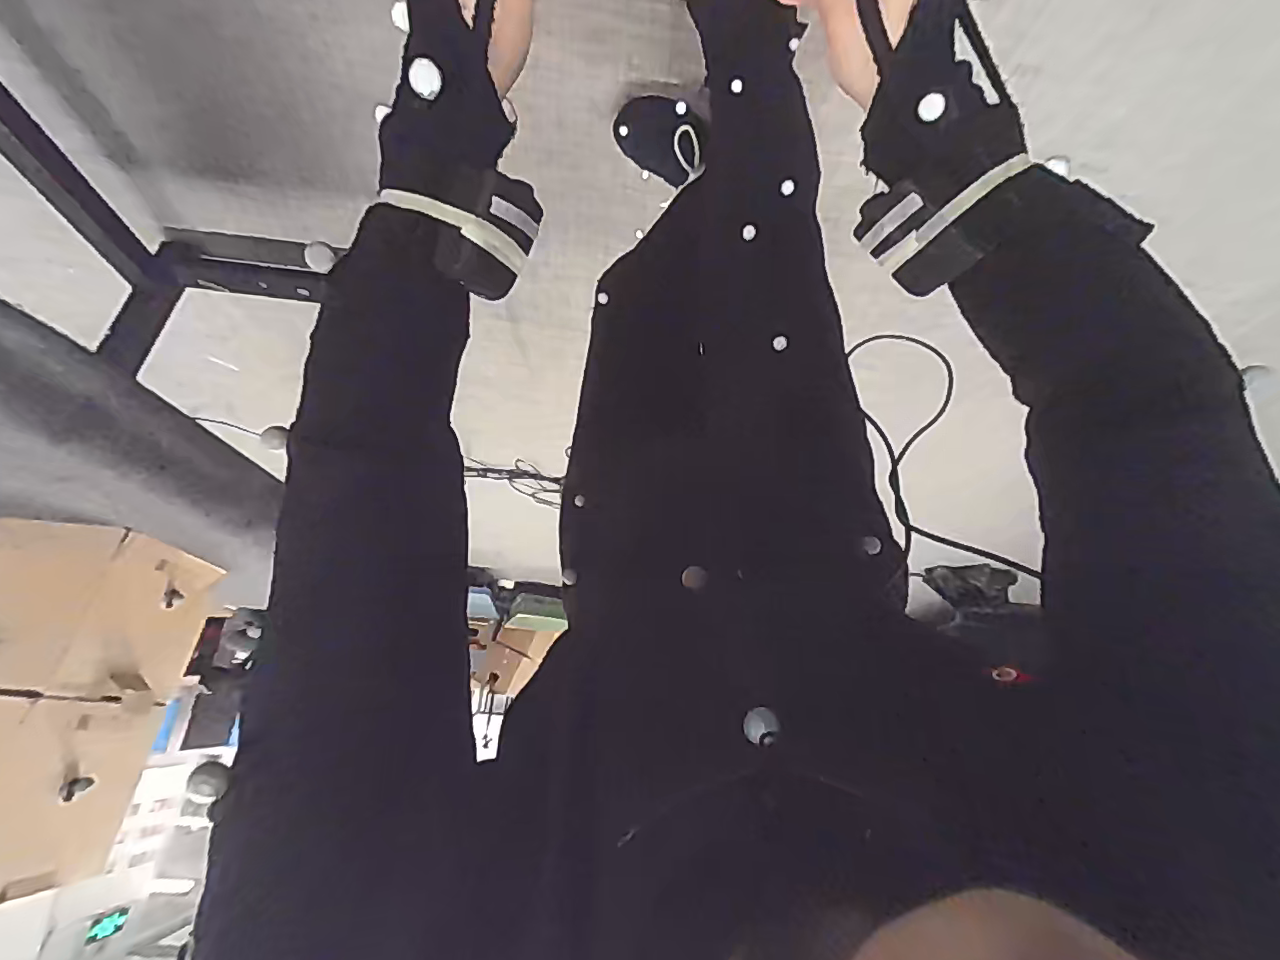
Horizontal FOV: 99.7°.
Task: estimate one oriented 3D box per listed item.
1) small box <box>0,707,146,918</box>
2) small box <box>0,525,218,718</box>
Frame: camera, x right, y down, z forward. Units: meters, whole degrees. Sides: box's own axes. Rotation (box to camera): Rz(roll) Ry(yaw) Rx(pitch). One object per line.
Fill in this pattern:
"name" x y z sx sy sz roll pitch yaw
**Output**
"small box" -0.624 0.300 0.507 0.179 0.176 0.168 3 154 -1
"small box" -0.617 0.155 0.582 0.179 0.176 0.168 4 154 -2
